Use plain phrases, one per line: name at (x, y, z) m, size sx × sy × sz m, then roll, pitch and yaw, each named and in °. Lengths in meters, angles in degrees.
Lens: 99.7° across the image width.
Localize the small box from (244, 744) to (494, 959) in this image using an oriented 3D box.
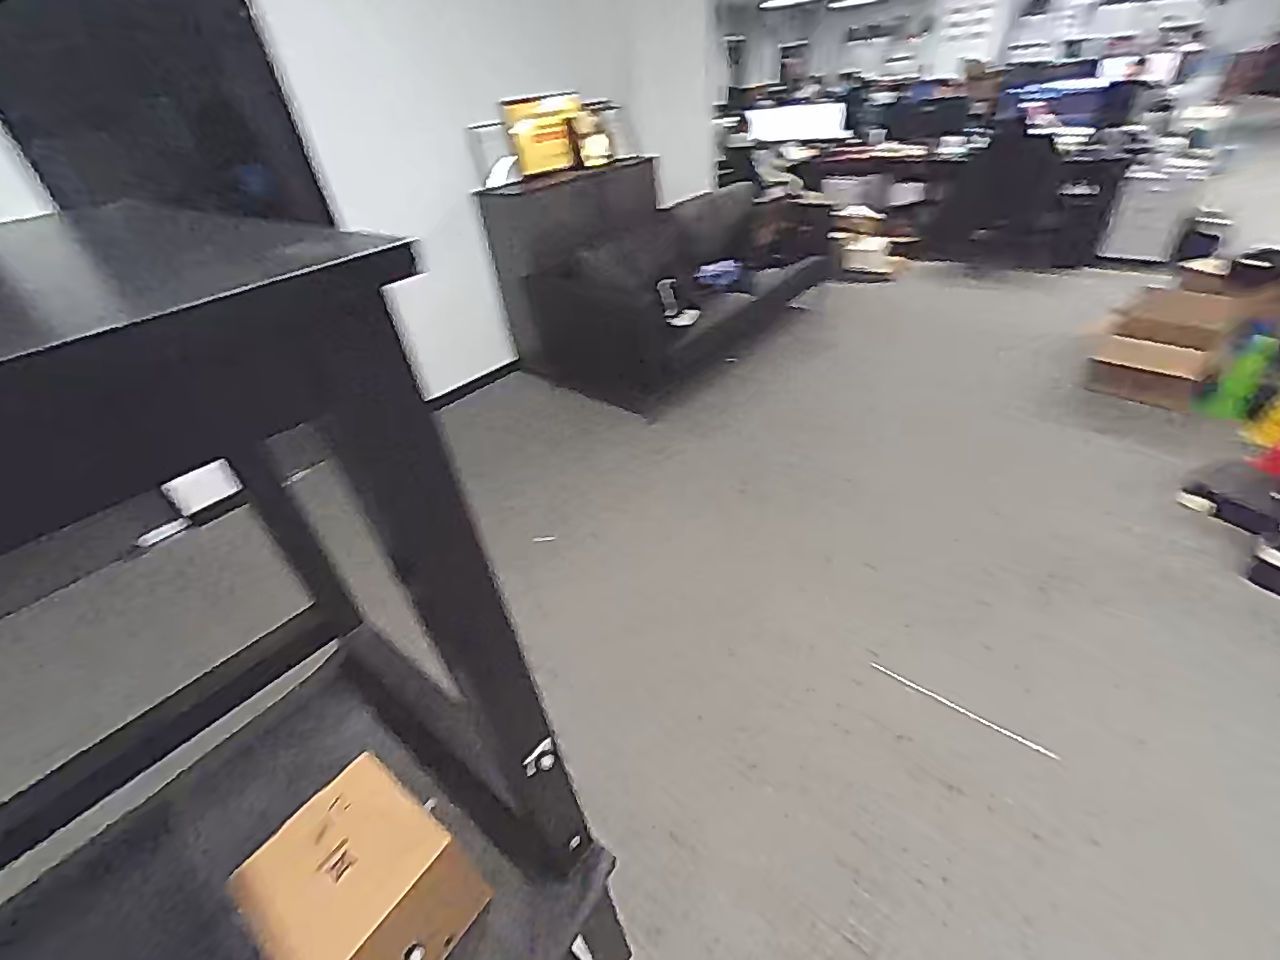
small box at (-0.297, 0.456, 0.623) m, size 0.179 × 0.176 × 0.168 m, roll 20°, pitch 44°, yaw 32°
